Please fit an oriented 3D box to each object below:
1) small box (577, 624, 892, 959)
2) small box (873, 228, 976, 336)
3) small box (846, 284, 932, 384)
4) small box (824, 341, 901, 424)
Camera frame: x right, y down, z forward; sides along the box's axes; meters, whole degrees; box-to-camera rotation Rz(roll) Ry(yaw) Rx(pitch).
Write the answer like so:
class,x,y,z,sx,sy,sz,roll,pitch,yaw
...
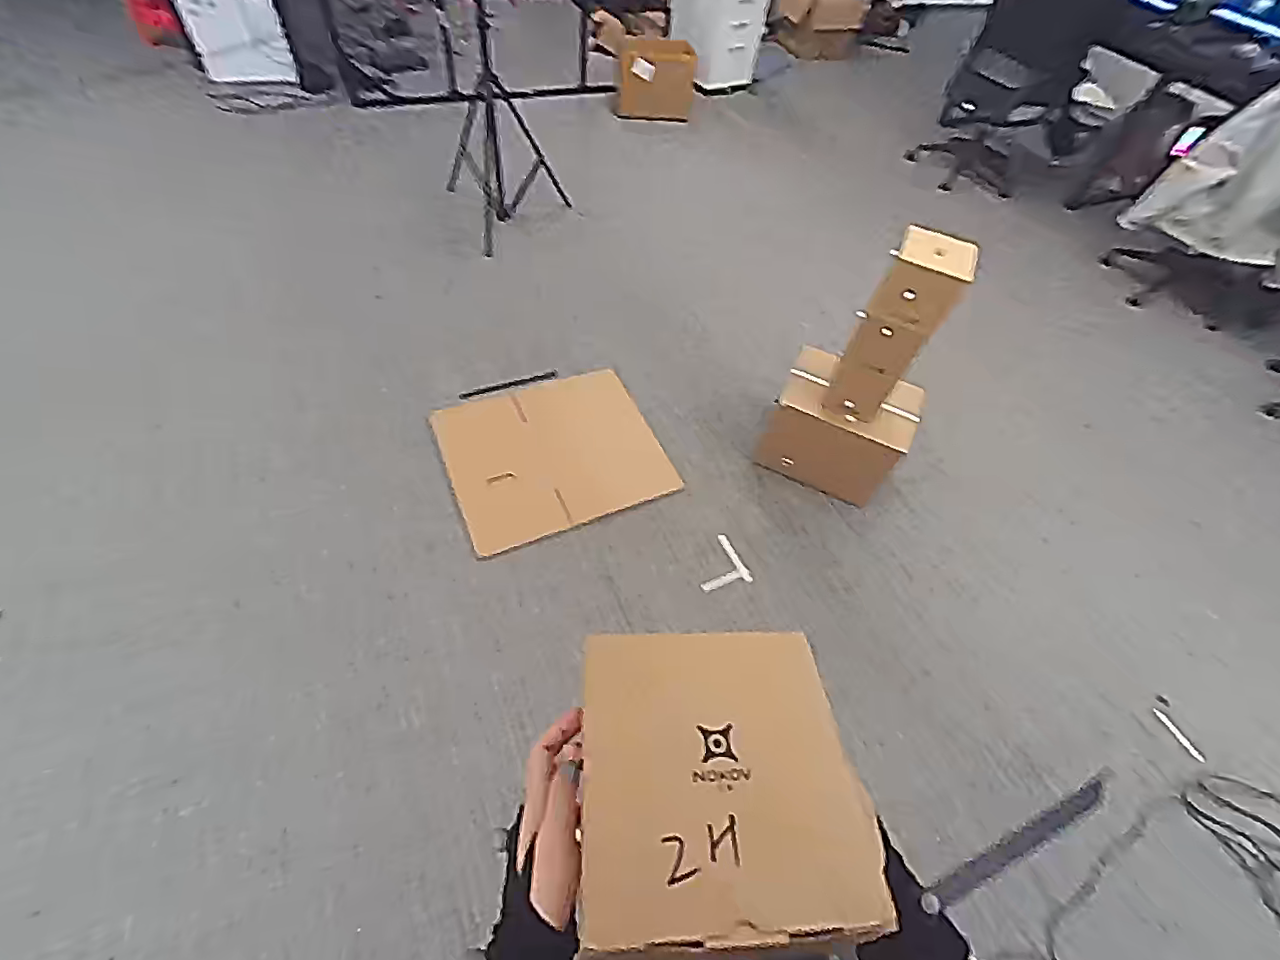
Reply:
class,x,y,z,sx,sy,sz,roll,pitch,yaw
small box,0.040,0.225,0.390,0.168,0.176,0.179,1,43,-6
small box,0.706,-0.492,1.353,0.168,0.176,0.179,23,55,10
small box,0.689,-0.400,1.487,0.168,0.176,0.179,24,55,11
small box,0.672,-0.302,1.618,0.168,0.176,0.179,24,56,10
